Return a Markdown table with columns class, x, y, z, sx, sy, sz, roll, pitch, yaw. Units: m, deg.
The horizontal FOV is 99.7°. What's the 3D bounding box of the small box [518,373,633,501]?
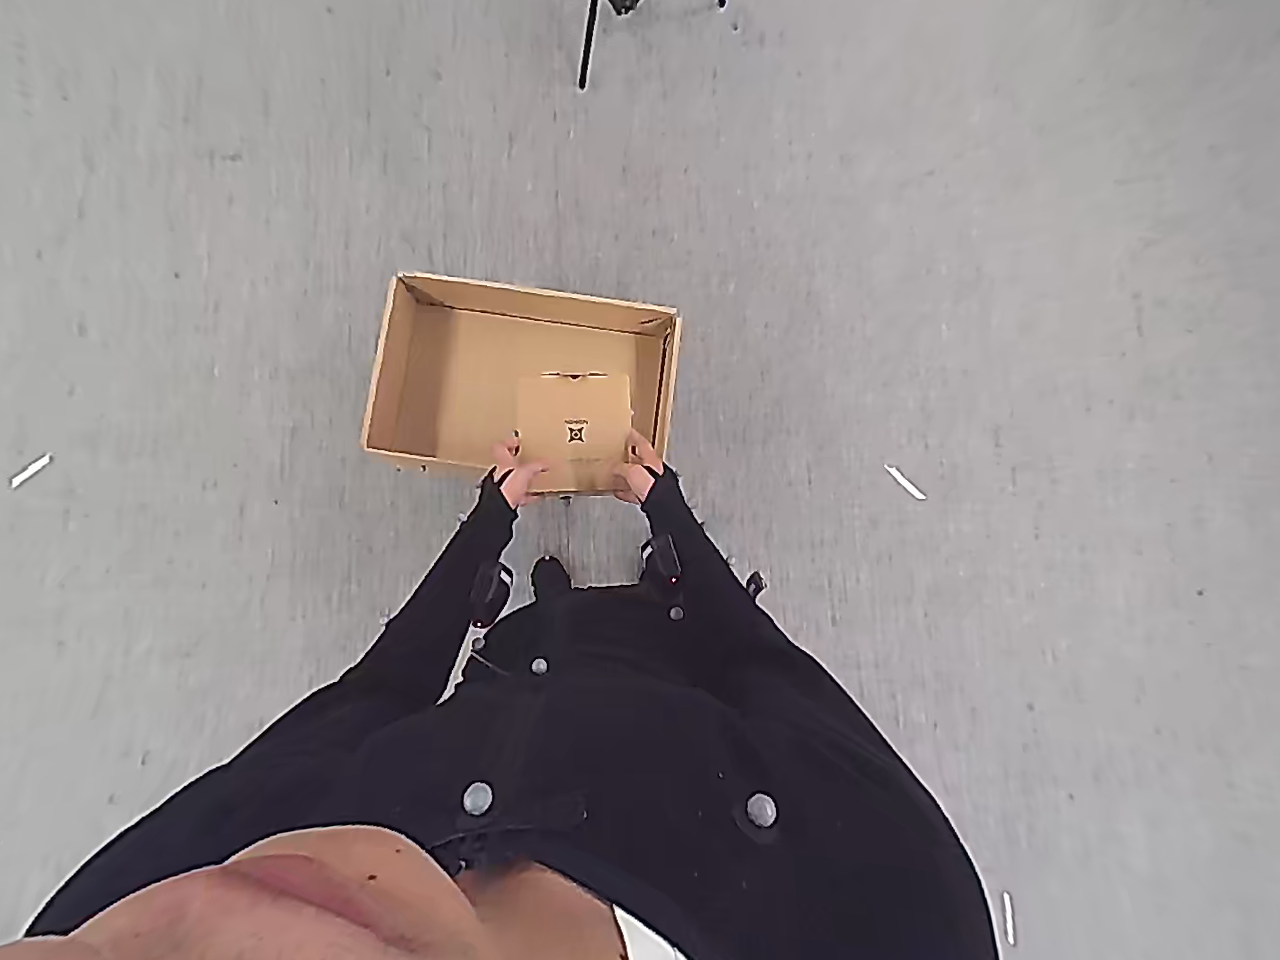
| class | x | y | z | sx | sy | sz | roll | pitch | yaw |
| --- | --- | --- | --- | --- | --- | --- | --- | --- | --- |
| small box | -0.104 | -0.061 | 0.857 | 0.168 | 0.176 | 0.179 | -1 | 85 | -7 |
